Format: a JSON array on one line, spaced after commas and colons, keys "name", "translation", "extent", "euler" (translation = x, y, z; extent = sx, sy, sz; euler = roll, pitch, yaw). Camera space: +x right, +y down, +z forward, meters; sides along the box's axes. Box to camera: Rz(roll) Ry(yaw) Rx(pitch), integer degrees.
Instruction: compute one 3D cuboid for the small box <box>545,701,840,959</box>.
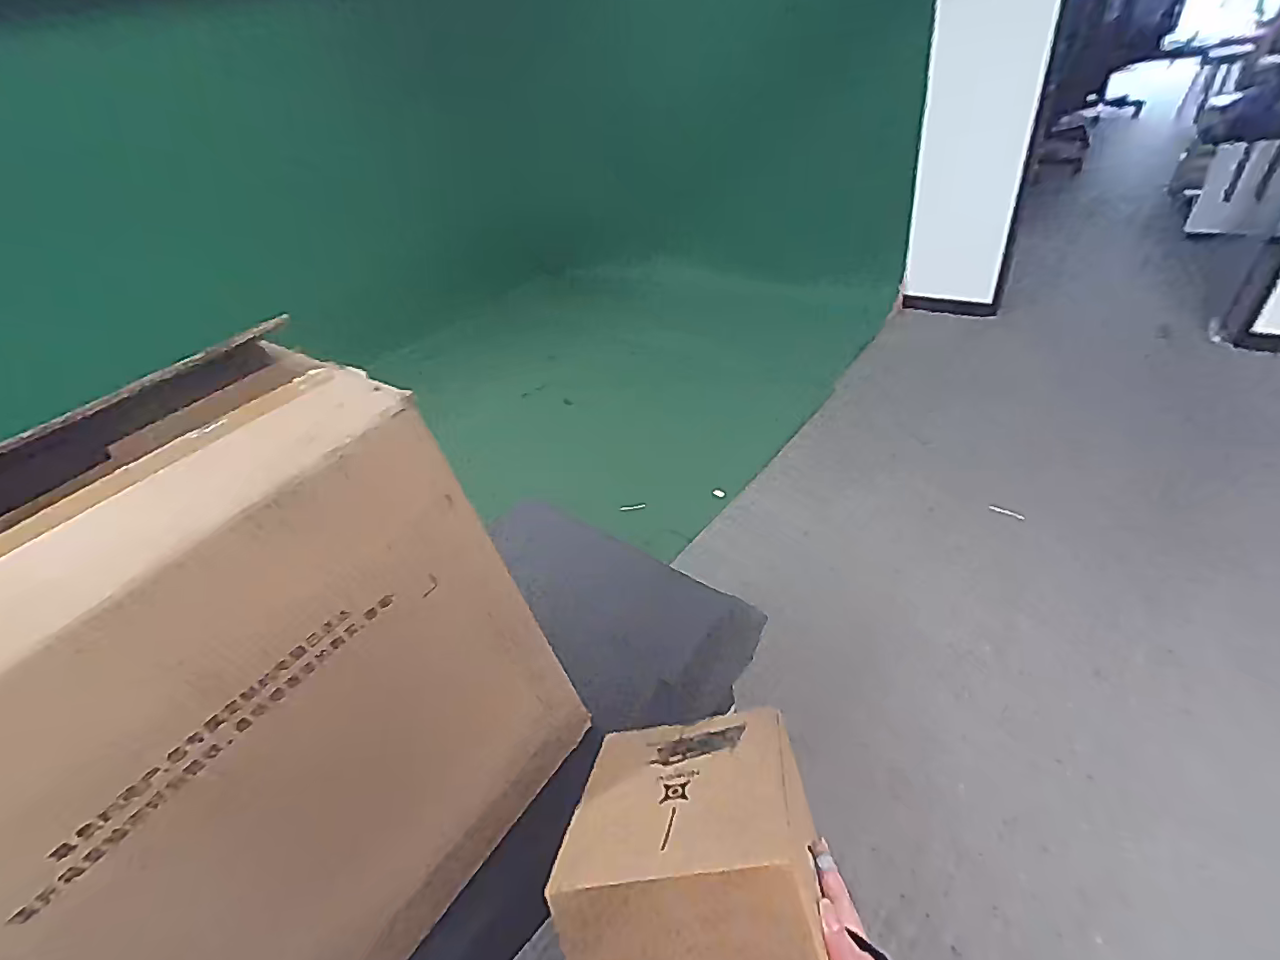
[{"name": "small box", "translation": [0.052, 0.306, 0.423], "extent": [0.168, 0.176, 0.179], "euler": [-16, 6, 14]}]
